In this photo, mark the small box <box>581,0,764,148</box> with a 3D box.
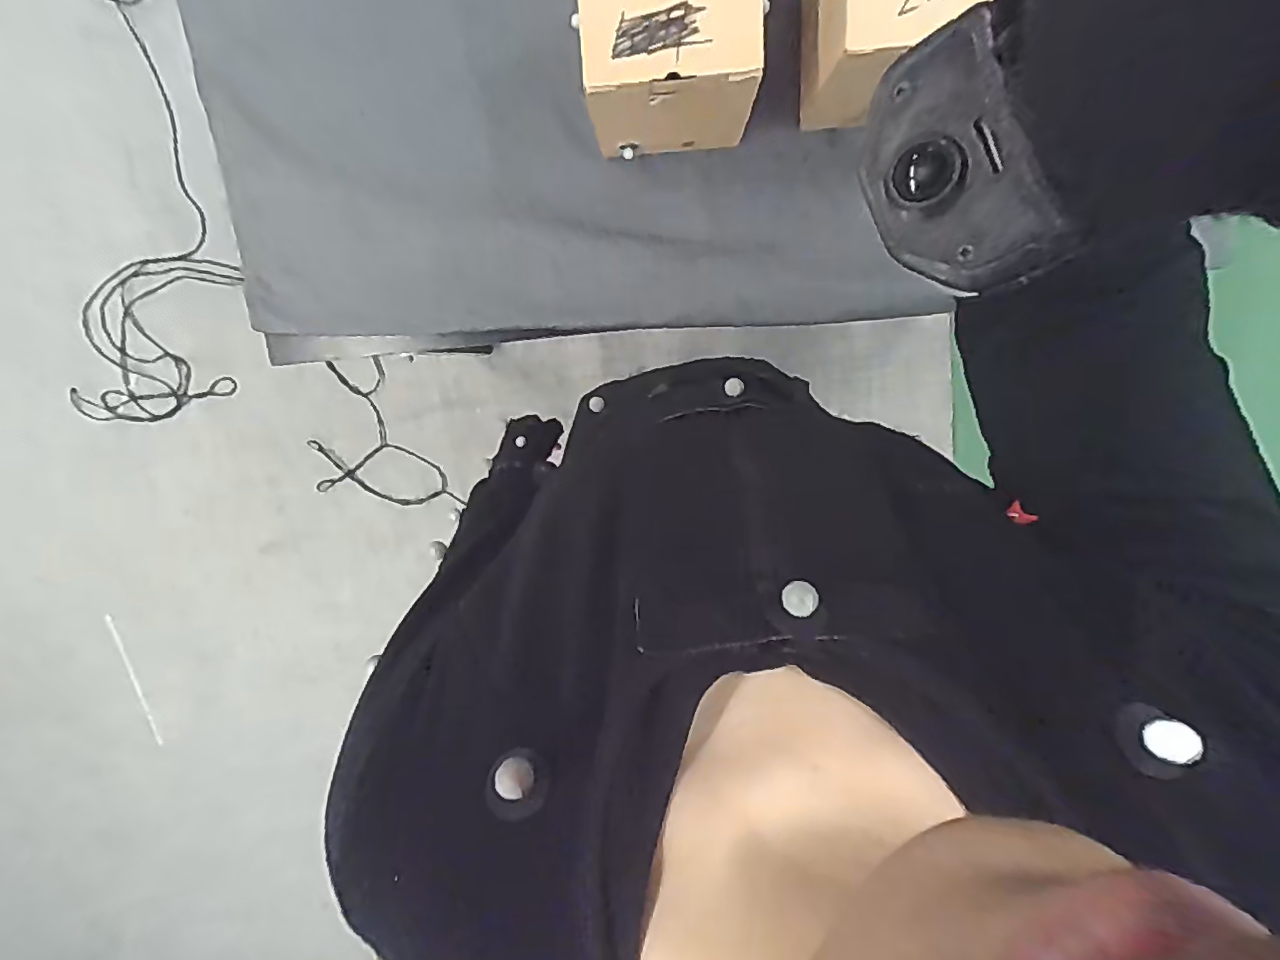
[{"bbox_3d":[0.033,-0.464,0.555,0.168,0.176,0.179,-3,101,4],"label":"small box"}]

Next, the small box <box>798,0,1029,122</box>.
[{"bbox_3d":[0.262,-0.489,0.539,0.168,0.176,0.179,2,105,4],"label":"small box"}]
